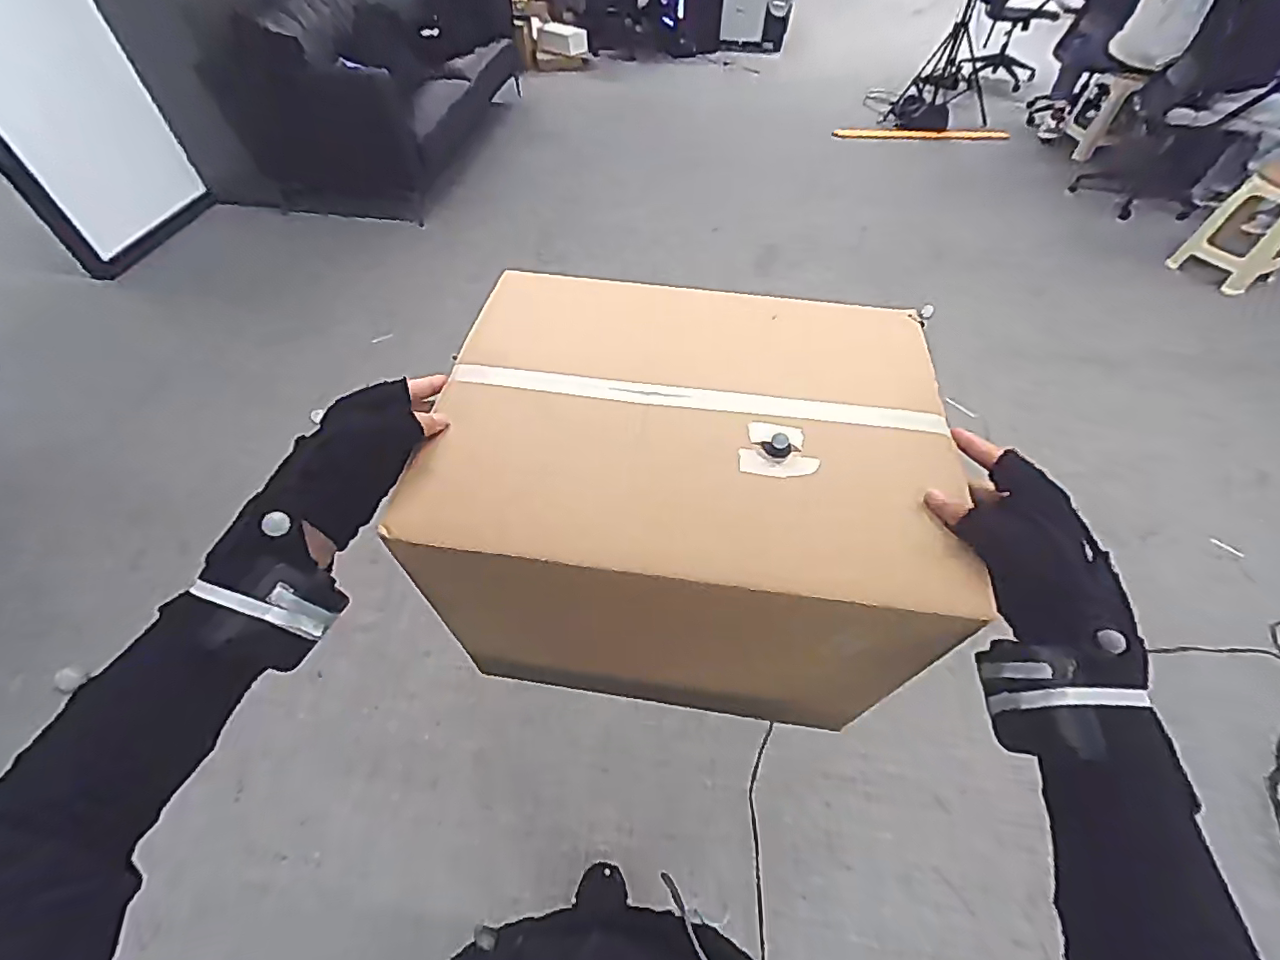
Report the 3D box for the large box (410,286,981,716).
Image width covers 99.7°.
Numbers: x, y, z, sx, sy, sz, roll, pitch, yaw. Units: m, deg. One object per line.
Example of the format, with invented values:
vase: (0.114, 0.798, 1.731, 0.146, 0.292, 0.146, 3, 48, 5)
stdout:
large box: (0.045, 0.031, 0.575, 0.408, 0.320, 0.320, 7, 54, 3)
